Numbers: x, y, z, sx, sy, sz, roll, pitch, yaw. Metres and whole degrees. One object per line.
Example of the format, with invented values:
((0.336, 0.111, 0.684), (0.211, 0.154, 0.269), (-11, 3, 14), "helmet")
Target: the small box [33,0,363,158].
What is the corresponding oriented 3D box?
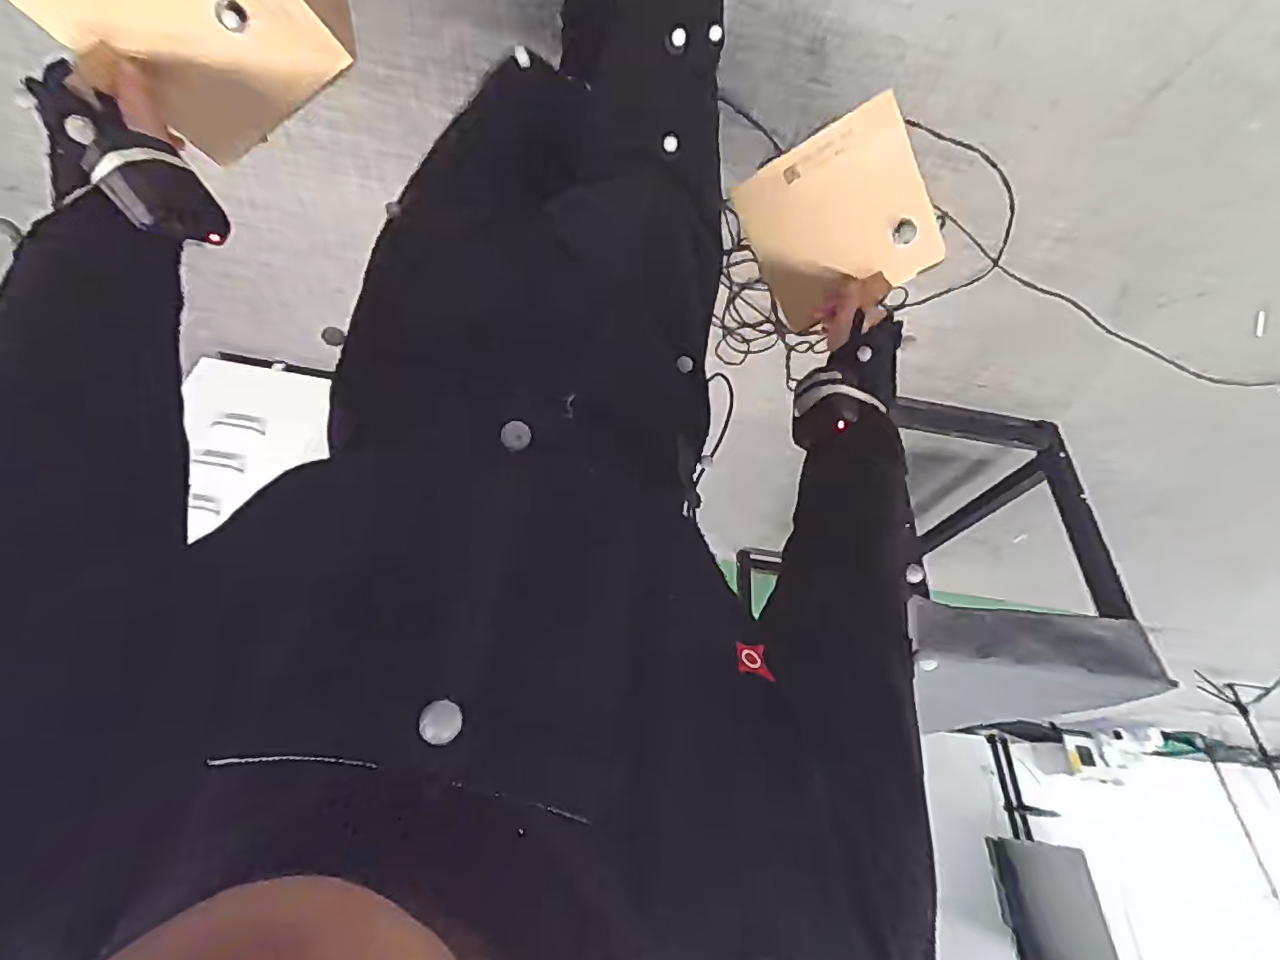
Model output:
((-0.357, -0.423, 0.443), (0.176, 0.179, 0.168), (-26, 152, 12), "small box")
